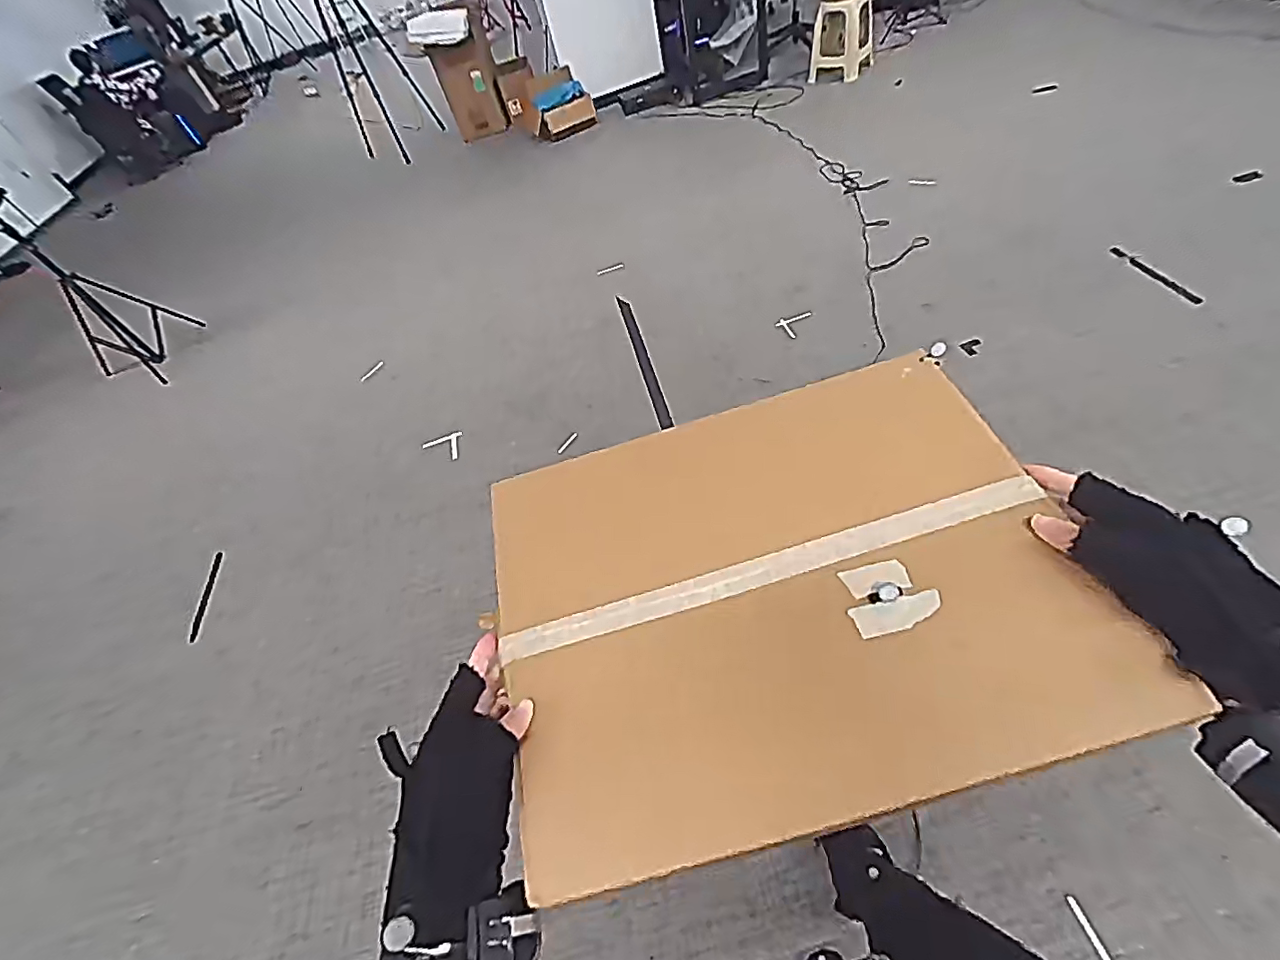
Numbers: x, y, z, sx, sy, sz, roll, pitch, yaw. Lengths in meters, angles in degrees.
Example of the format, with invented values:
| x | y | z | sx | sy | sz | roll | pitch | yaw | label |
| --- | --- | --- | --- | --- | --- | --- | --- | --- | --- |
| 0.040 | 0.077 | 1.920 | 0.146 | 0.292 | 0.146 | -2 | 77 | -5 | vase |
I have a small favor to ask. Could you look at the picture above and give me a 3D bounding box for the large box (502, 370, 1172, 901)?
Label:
| x | y | z | sx | sy | sz | roll | pitch | yaw | label |
| --- | --- | --- | --- | --- | --- | --- | --- | --- | --- |
| 0.122 | 0.159 | 0.530 | 0.408 | 0.320 | 0.320 | -17 | 55 | 1 | large box |
